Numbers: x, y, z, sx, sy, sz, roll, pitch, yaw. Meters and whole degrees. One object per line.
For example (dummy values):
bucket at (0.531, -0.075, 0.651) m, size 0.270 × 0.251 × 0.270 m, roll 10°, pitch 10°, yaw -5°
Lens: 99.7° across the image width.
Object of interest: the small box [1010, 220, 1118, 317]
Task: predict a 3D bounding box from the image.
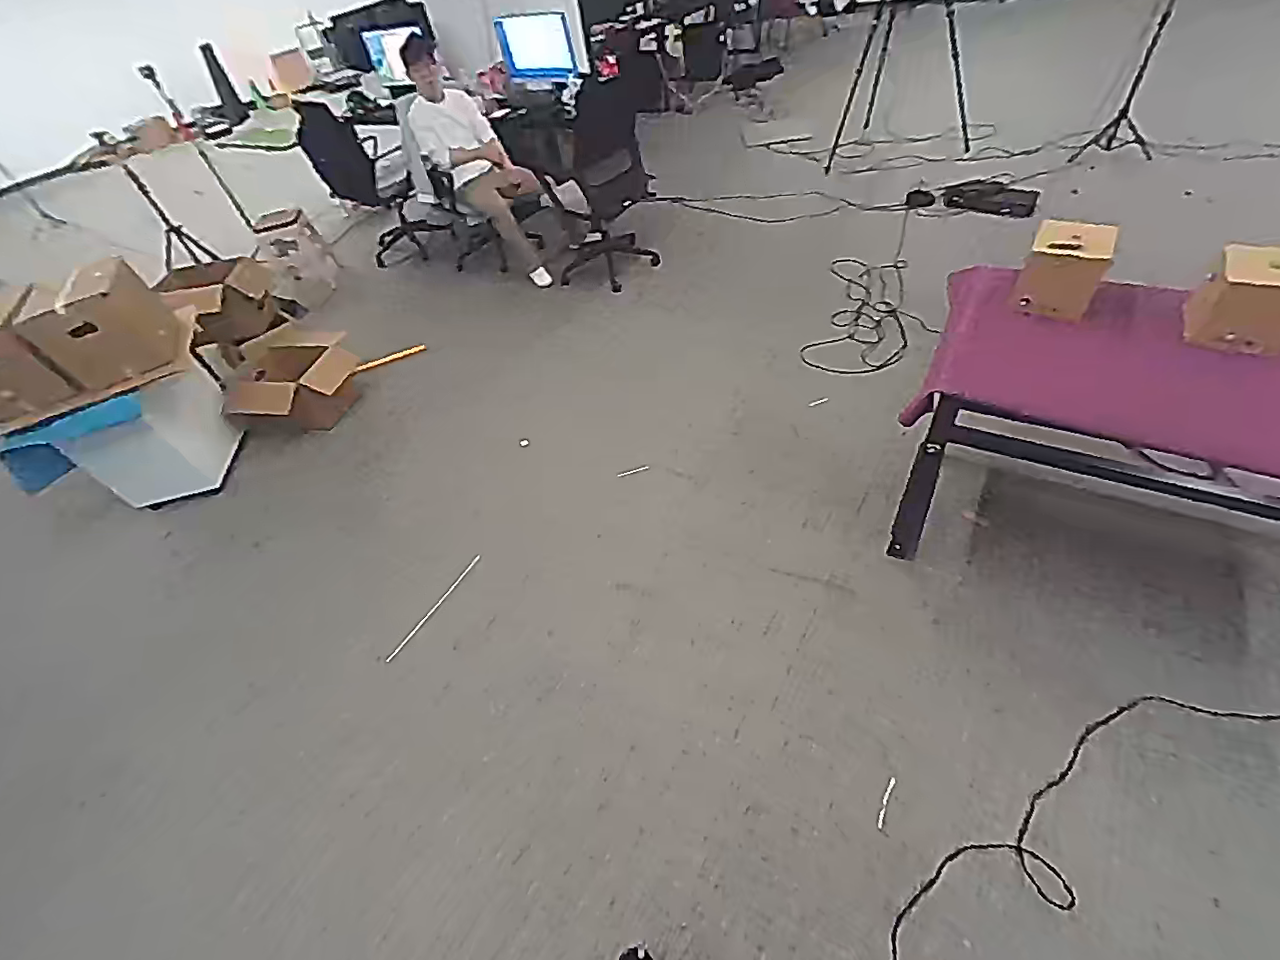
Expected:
small box at (1.094, -0.548, 1.407) m, size 0.168 × 0.176 × 0.179 m, roll 22°, pitch 57°, yaw 27°

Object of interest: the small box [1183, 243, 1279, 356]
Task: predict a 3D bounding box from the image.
small box at (1.387, -0.412, 1.230) m, size 0.168 × 0.176 × 0.179 m, roll 19°, pitch 55°, yaw 27°
